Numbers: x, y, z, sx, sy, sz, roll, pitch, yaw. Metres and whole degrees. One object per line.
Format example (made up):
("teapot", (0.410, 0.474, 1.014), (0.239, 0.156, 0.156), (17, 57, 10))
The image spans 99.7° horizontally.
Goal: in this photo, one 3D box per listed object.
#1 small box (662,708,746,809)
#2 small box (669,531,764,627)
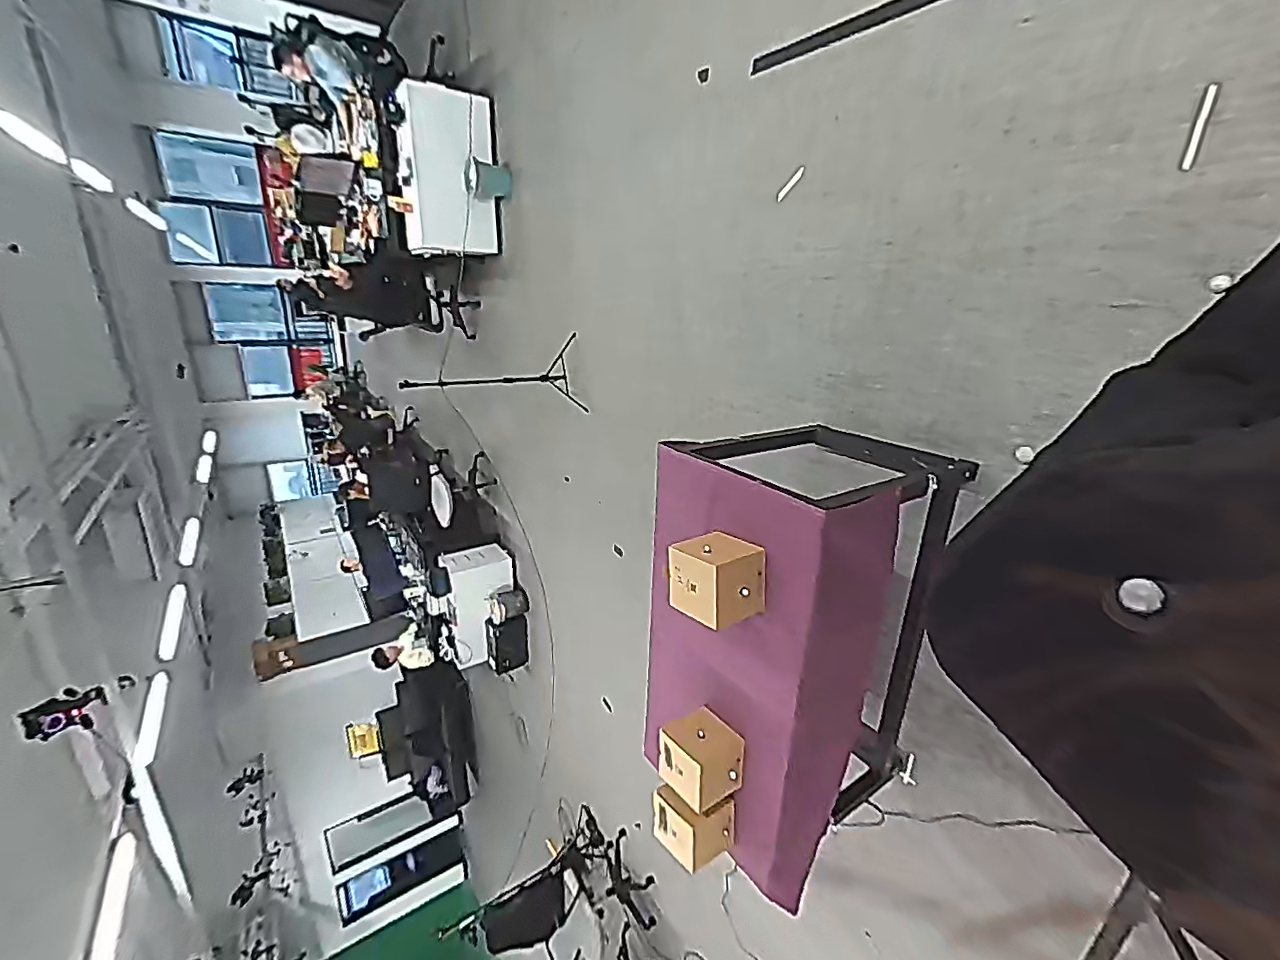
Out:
("small box", (0.182, 0.787, 1.558), (0.179, 0.176, 0.168), (21, 117, 52))
("small box", (0.194, 0.240, 1.362), (0.179, 0.176, 0.168), (18, 115, 54))
